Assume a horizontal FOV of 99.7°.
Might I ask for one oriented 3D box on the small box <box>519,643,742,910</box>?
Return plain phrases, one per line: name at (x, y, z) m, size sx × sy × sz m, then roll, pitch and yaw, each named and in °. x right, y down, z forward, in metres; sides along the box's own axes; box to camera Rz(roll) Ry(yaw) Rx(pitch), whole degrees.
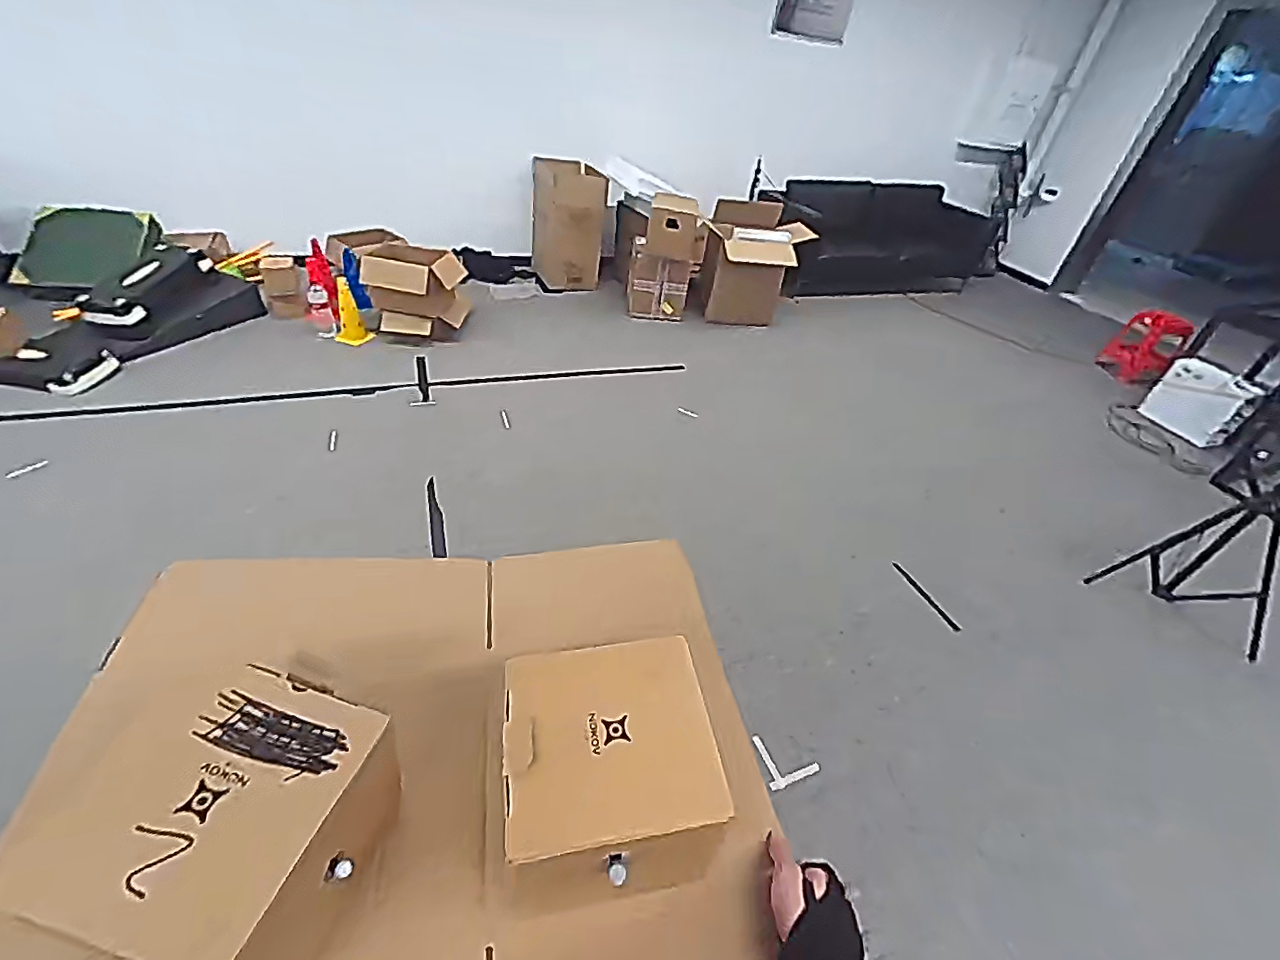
small box at (-0.021, 0.284, 0.524) m, size 0.179 × 0.176 × 0.168 m, roll -6°, pitch 41°, yaw -10°
